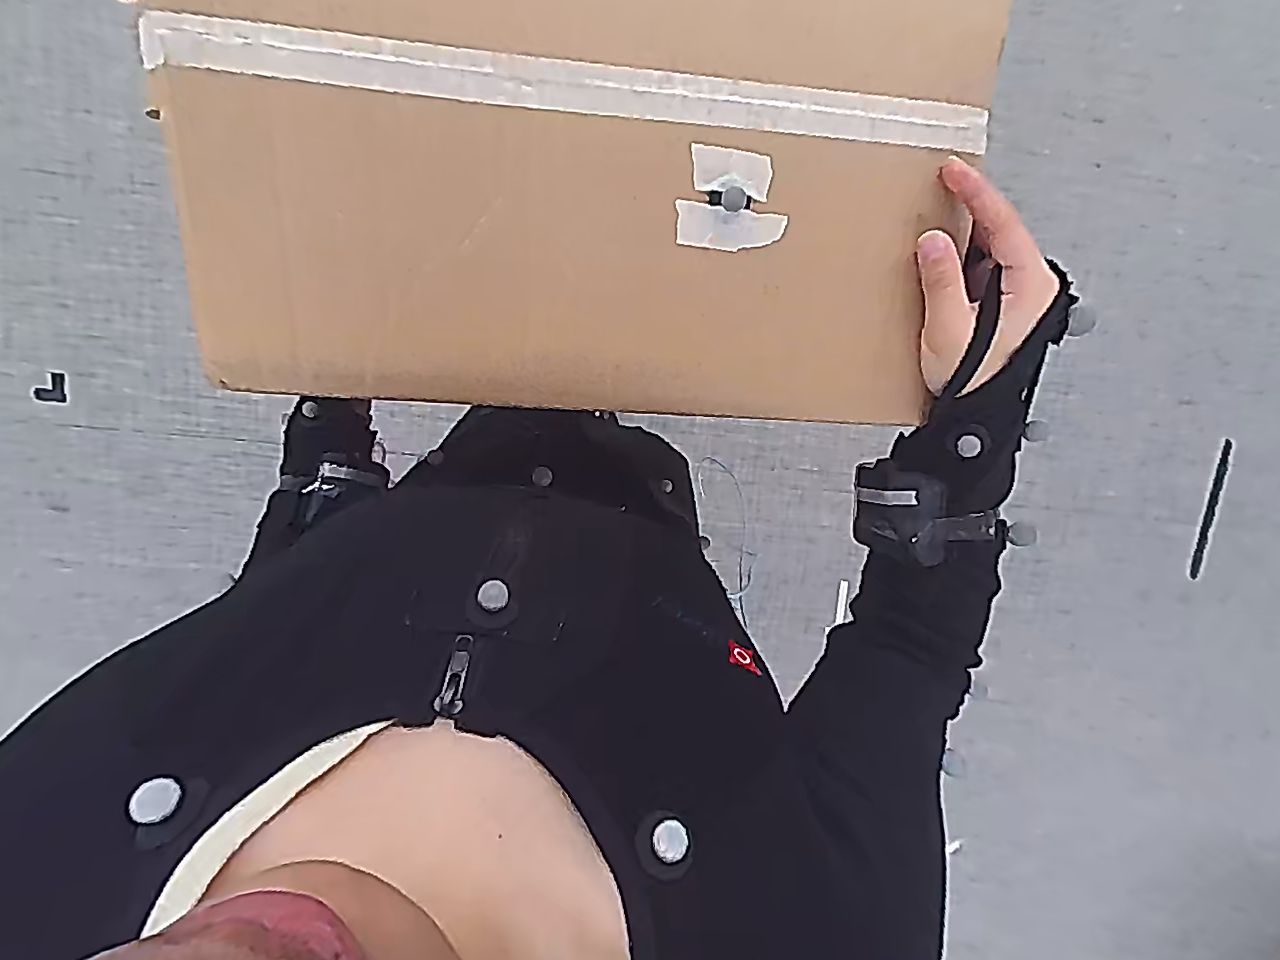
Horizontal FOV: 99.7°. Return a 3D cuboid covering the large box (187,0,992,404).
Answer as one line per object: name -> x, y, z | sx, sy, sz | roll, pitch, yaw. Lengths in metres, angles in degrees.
large box -> -0.034, -0.235, 0.421 | 0.408, 0.320, 0.320 | 1, 106, -7
